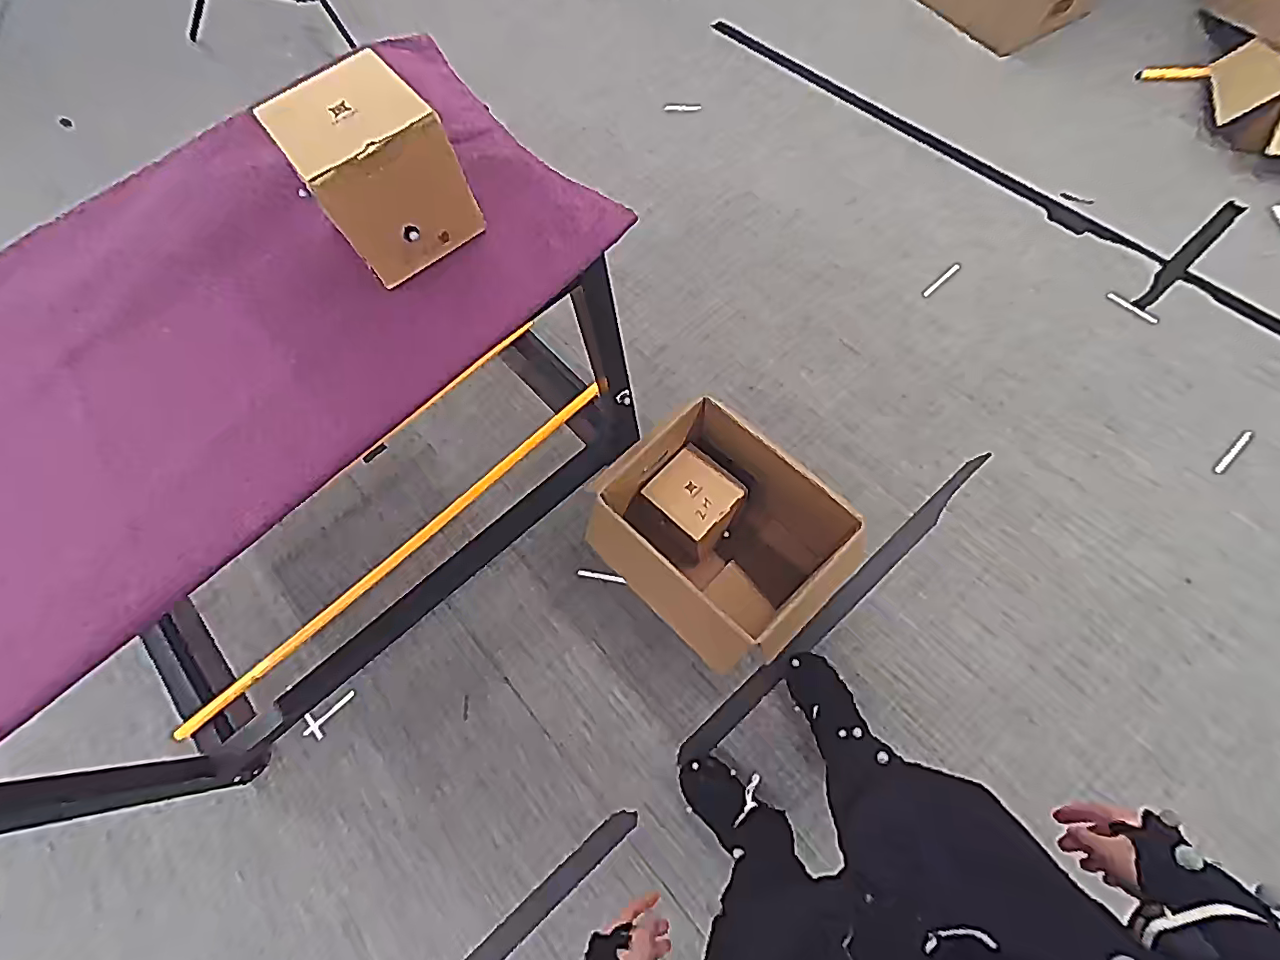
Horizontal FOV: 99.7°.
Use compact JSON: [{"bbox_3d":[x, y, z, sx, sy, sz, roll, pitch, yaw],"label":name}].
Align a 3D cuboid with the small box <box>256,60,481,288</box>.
[{"bbox_3d":[-0.343,-0.393,0.711,0.168,0.176,0.179,-38,69,-9],"label":"small box"}]
